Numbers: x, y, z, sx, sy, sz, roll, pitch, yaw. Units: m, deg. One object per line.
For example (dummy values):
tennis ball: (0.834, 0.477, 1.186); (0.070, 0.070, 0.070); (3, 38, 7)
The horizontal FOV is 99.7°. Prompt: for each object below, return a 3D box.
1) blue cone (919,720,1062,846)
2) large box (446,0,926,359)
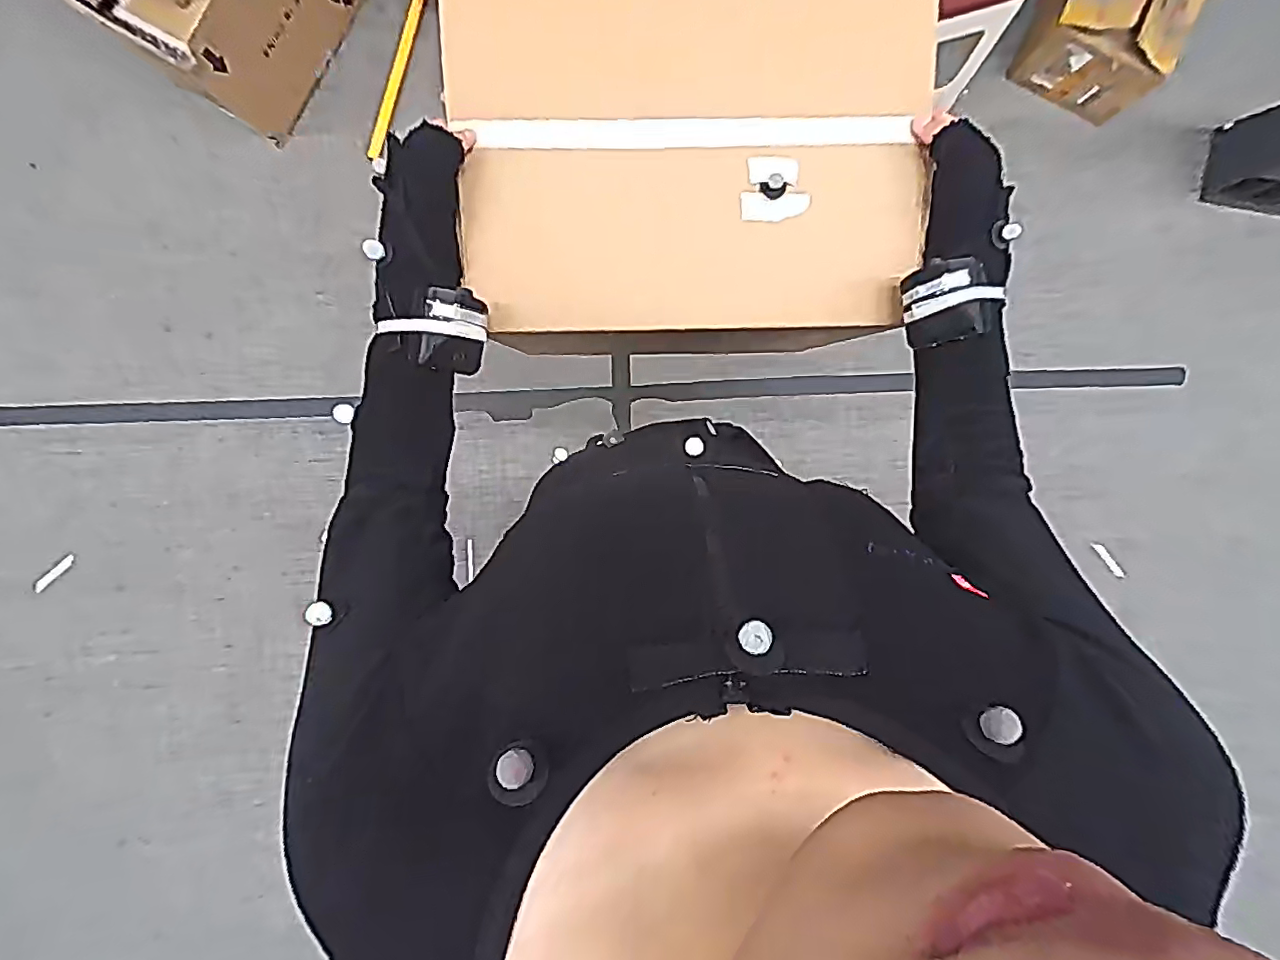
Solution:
blue cone: (0.911, 0.798, 1.399); (0.192, 0.380, 0.193); (2, 93, -4)
large box: (0.036, -0.311, 0.607); (0.408, 0.320, 0.320); (-2, 99, -3)
